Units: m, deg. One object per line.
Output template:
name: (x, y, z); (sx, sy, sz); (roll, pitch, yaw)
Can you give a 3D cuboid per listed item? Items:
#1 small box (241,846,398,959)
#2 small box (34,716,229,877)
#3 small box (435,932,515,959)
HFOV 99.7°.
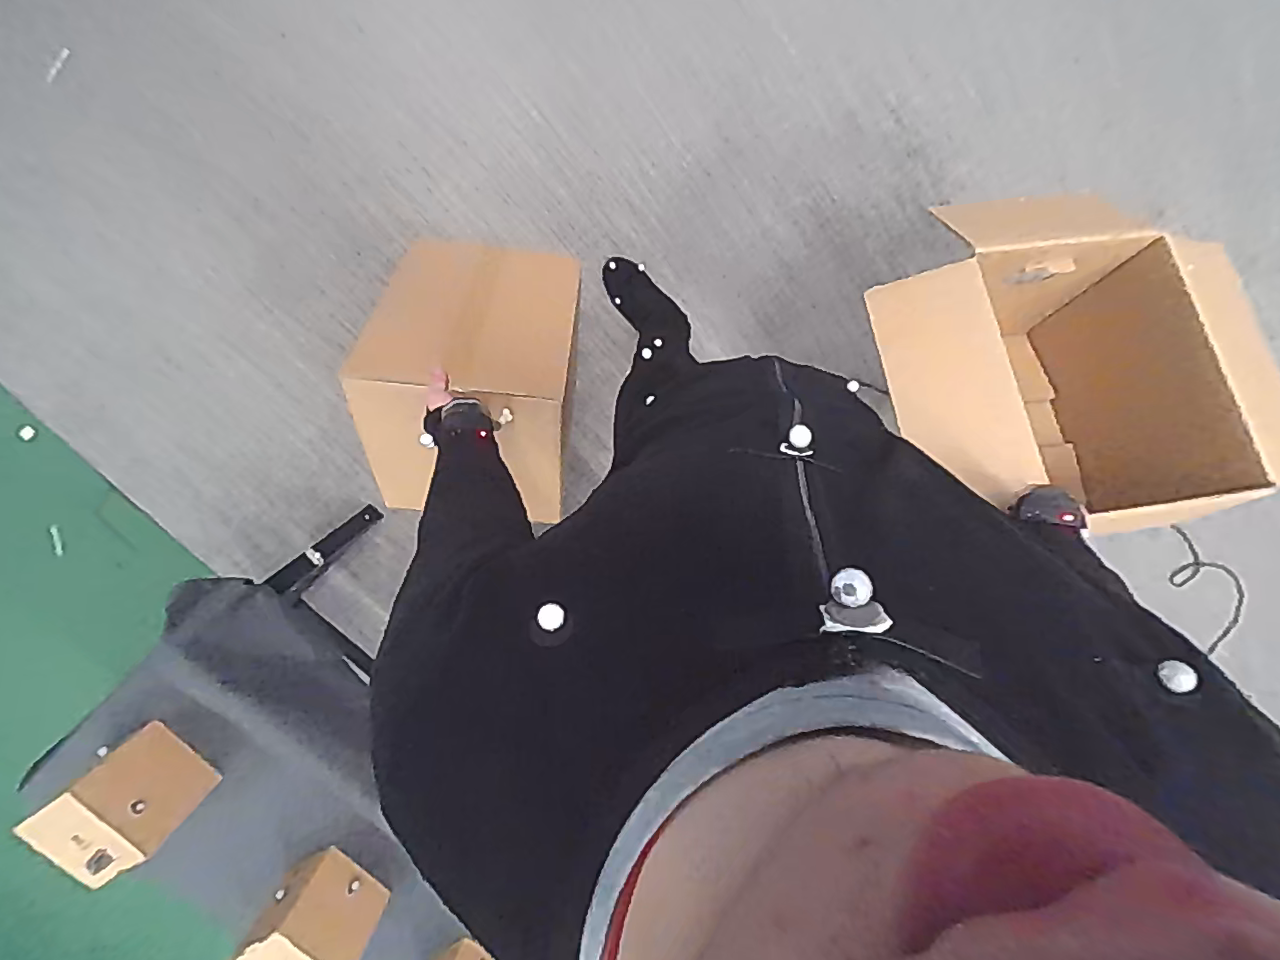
small box: (-0.645, 0.891, 1.107); (0.168, 0.176, 0.179); (-37, 102, 16)
small box: (-0.941, 0.589, 1.020); (0.168, 0.176, 0.179); (-33, 104, 14)
small box: (-0.377, 1.137, 1.174); (0.168, 0.176, 0.179); (40, 110, -8)
